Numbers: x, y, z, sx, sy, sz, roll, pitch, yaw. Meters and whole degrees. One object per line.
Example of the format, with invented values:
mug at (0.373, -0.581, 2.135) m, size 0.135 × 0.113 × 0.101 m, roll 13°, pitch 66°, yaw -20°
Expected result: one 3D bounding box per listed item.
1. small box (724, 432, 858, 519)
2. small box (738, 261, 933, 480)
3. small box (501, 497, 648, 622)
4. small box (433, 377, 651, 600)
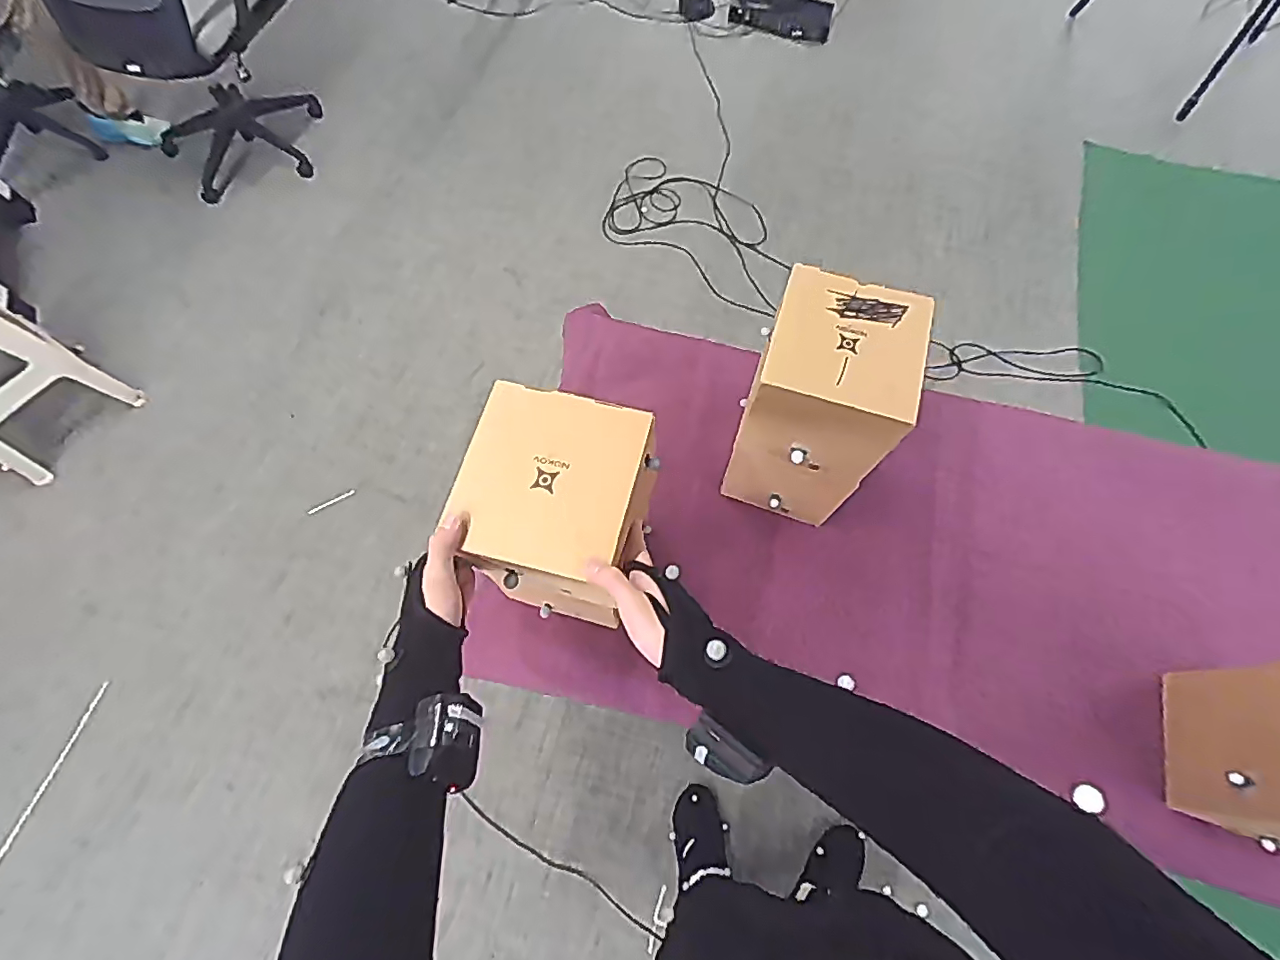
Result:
small box at (0.234, -0.065, 0.814) m, size 0.168 × 0.176 × 0.179 m, roll 19°, pitch 69°, yaw 8°
small box at (0.227, -0.126, 0.661) m, size 0.168 × 0.176 × 0.179 m, roll 17°, pitch 69°, yaw 7°
small box at (-0.089, 0.081, 0.751) m, size 0.168 × 0.176 × 0.179 m, roll 14°, pitch 67°, yaw 6°
small box at (-0.085, 0.020, 0.578) m, size 0.168 × 0.176 × 0.179 m, roll 13°, pitch 71°, yaw 7°
